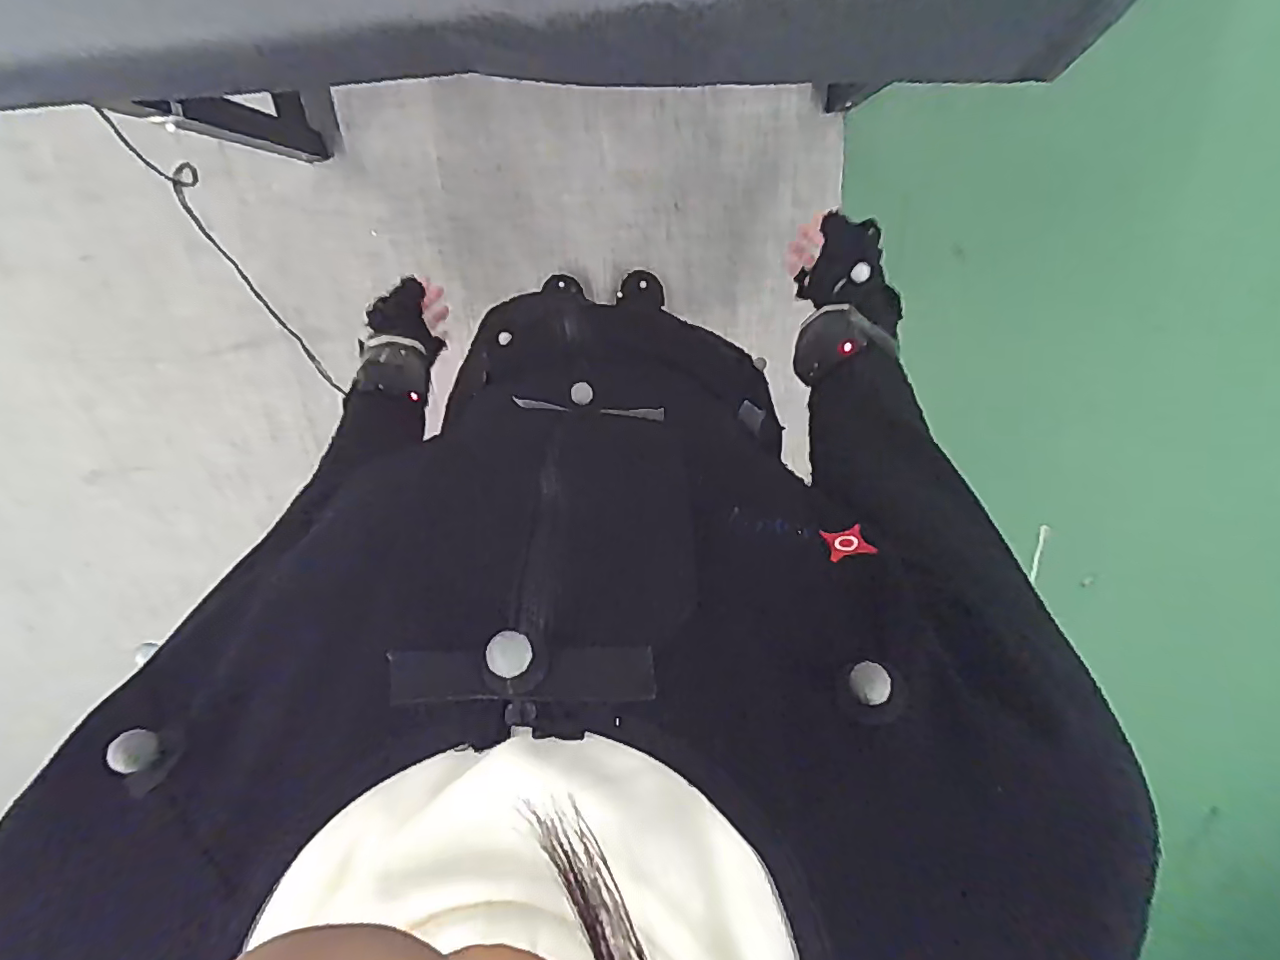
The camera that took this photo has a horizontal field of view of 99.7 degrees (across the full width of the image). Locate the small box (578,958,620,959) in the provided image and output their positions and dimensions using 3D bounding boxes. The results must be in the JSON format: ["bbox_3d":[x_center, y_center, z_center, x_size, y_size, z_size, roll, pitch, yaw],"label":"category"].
[{"bbox_3d":[-0.151,1.721,1.781,0.179,0.176,0.168,1,109,-2],"label":"small box"}]
